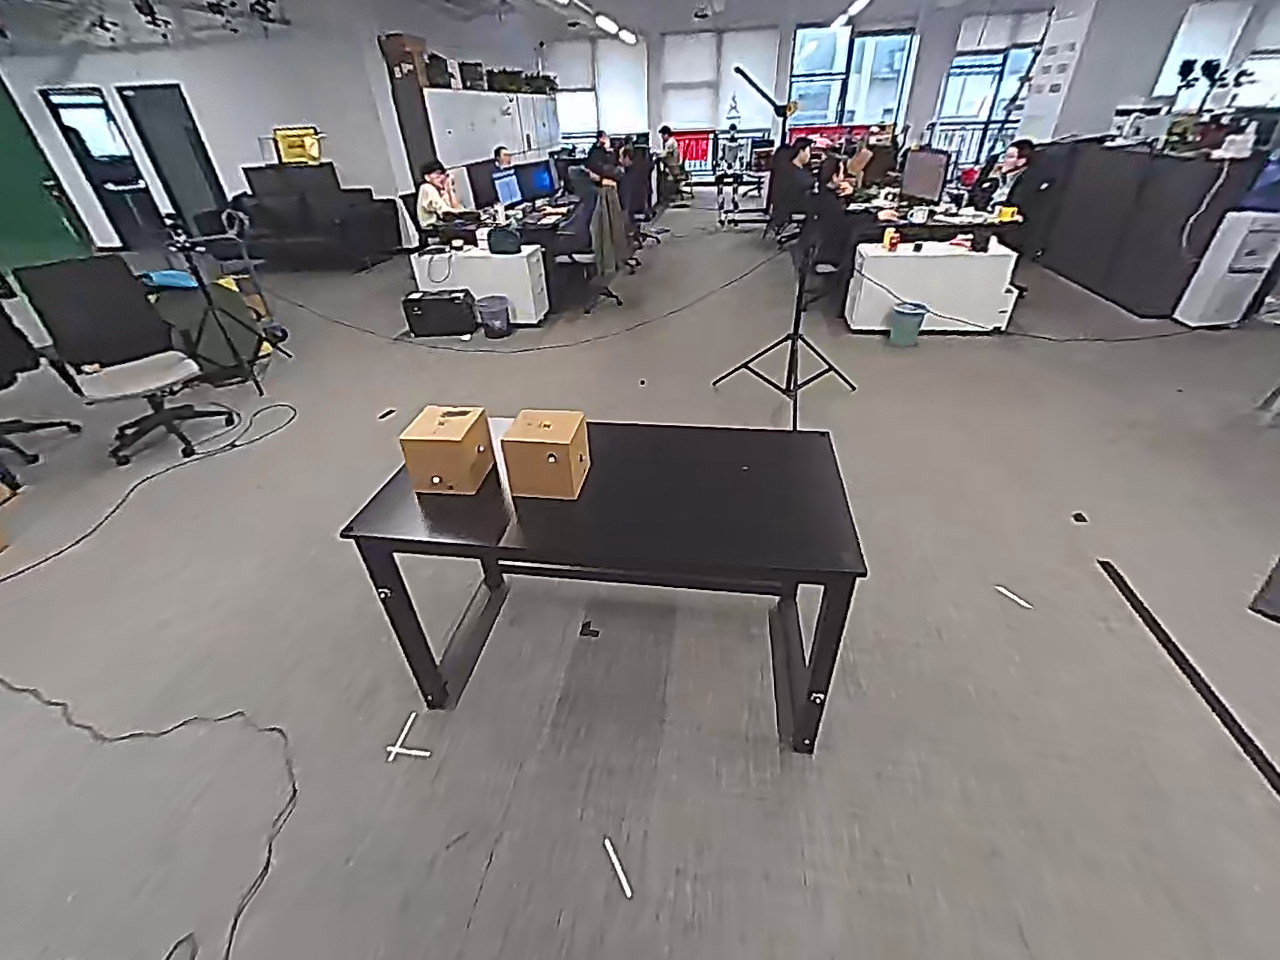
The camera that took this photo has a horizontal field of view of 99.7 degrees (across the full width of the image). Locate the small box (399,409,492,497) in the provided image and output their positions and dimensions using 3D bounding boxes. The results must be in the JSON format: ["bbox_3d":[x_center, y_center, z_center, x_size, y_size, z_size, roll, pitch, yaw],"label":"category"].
[{"bbox_3d":[-0.505,-0.075,1.441,0.168,0.176,0.179,2,35,7],"label":"small box"}]

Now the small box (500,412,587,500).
[{"bbox_3d":[-0.241,-0.062,1.404,0.179,0.176,0.168,3,34,8],"label":"small box"}]
